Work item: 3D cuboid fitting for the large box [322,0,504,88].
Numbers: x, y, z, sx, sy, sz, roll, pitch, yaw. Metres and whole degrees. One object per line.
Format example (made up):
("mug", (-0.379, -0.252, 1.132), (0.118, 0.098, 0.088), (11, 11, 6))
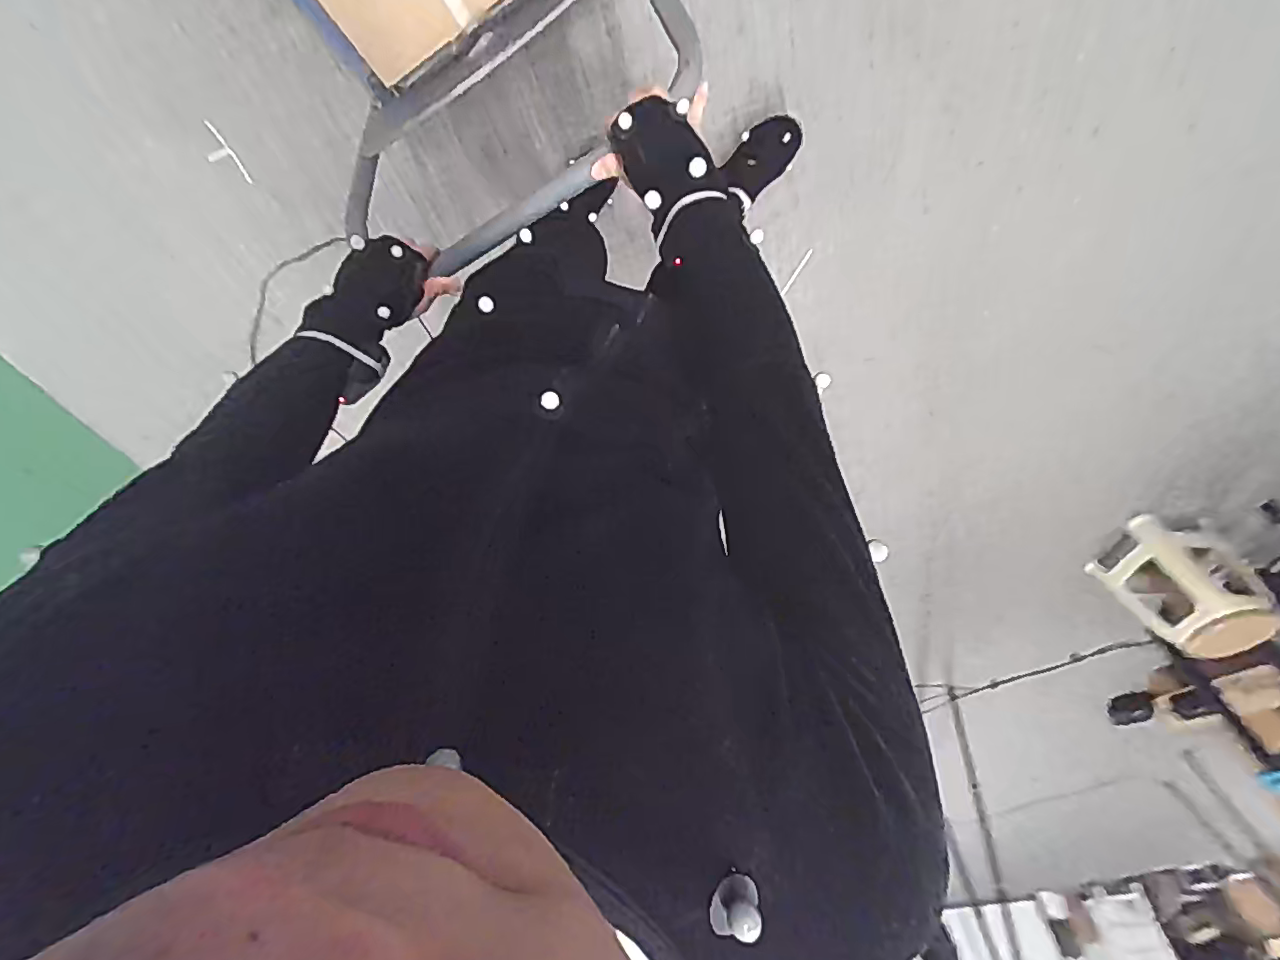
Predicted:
("large box", (-0.353, -0.863, 0.725), (0.320, 0.320, 0.408), (-25, 139, 17))
